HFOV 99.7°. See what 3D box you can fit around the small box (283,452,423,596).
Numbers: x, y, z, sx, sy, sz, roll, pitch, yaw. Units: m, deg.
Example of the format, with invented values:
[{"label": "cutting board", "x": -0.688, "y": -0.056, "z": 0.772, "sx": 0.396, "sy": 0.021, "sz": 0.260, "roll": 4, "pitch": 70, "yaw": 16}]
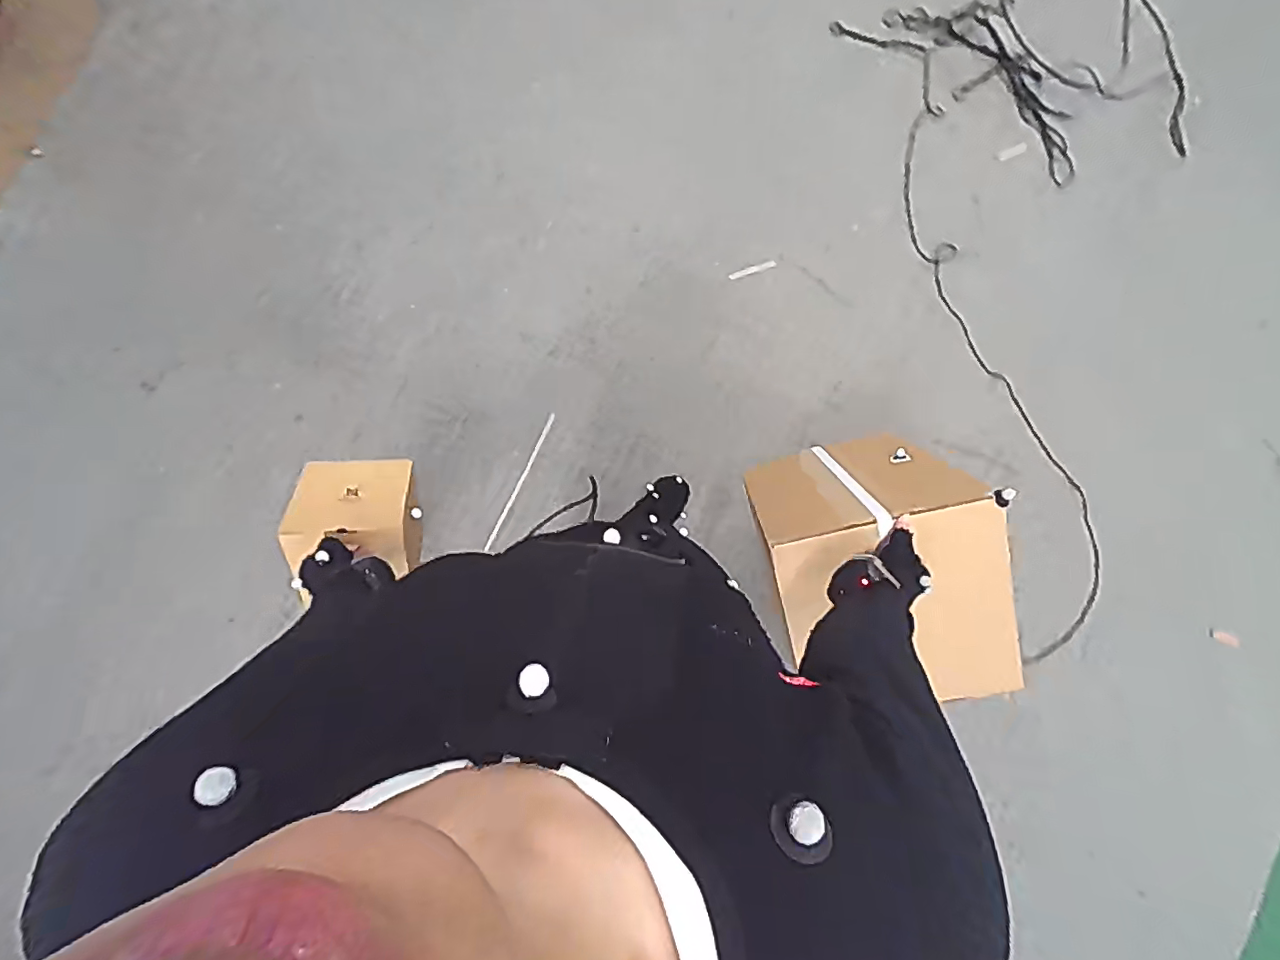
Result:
[{"label": "small box", "x": -0.465, "y": 0.070, "z": 0.907, "sx": 0.168, "sy": 0.179, "sz": 0.176, "roll": -2, "pitch": 130, "yaw": -15}]
